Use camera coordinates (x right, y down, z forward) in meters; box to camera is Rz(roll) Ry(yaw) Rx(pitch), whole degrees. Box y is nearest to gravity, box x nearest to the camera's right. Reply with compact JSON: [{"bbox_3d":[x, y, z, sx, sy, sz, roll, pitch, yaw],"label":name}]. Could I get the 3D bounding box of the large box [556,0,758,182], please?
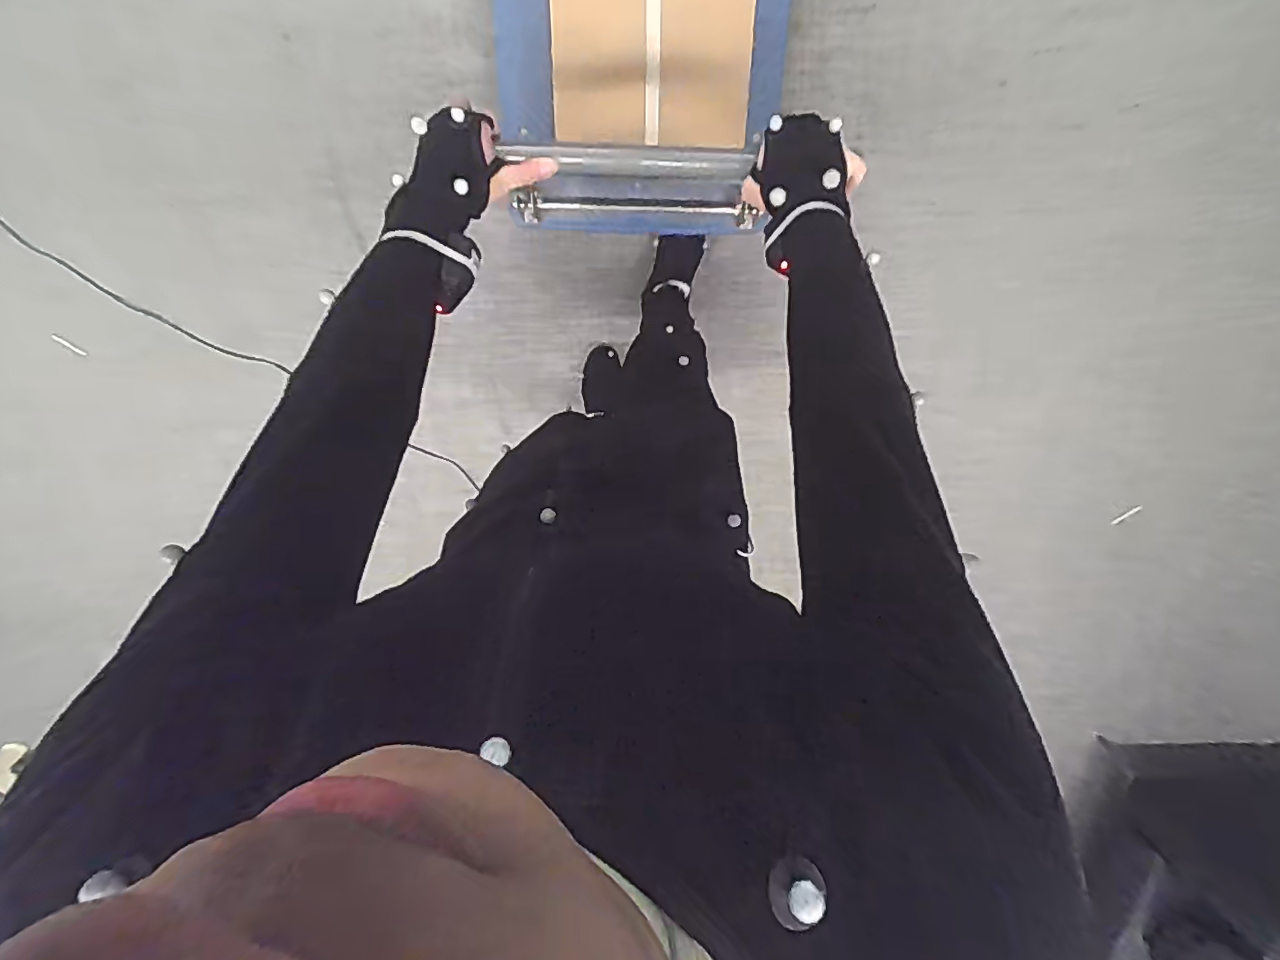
[{"bbox_3d":[0.029,-0.772,0.960,0.320,0.320,0.408,1,113,0],"label":"large box"}]
